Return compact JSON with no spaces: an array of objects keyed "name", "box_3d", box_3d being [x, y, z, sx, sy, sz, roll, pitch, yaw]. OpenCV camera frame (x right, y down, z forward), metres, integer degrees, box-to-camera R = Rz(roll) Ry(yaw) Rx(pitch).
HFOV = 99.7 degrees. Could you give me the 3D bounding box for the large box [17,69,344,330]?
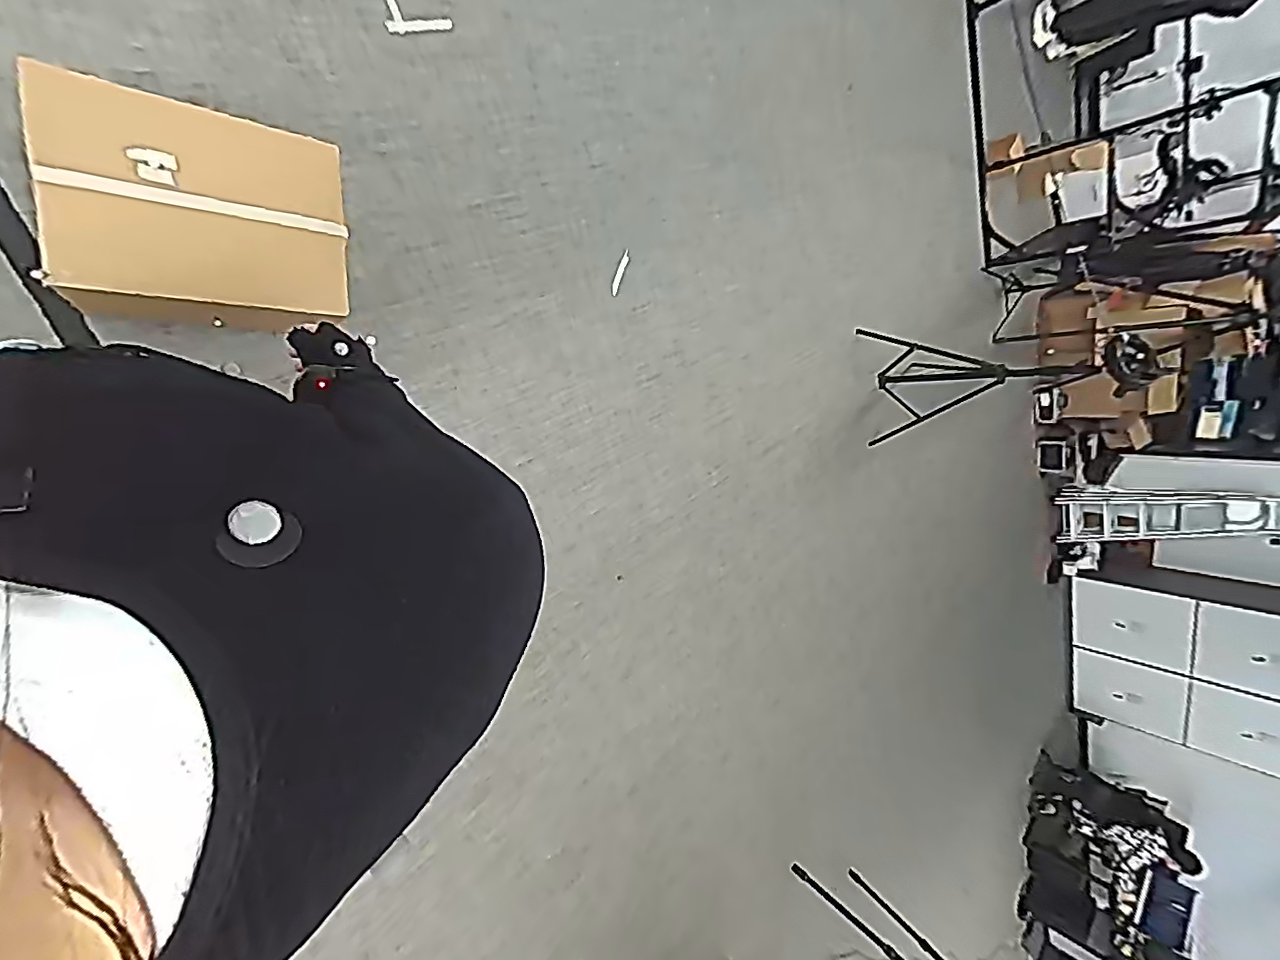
[{"name":"large box","box_3d":[-0.823,-0.471,1.027,0.408,0.320,0.320,-5,98,-38]}]
